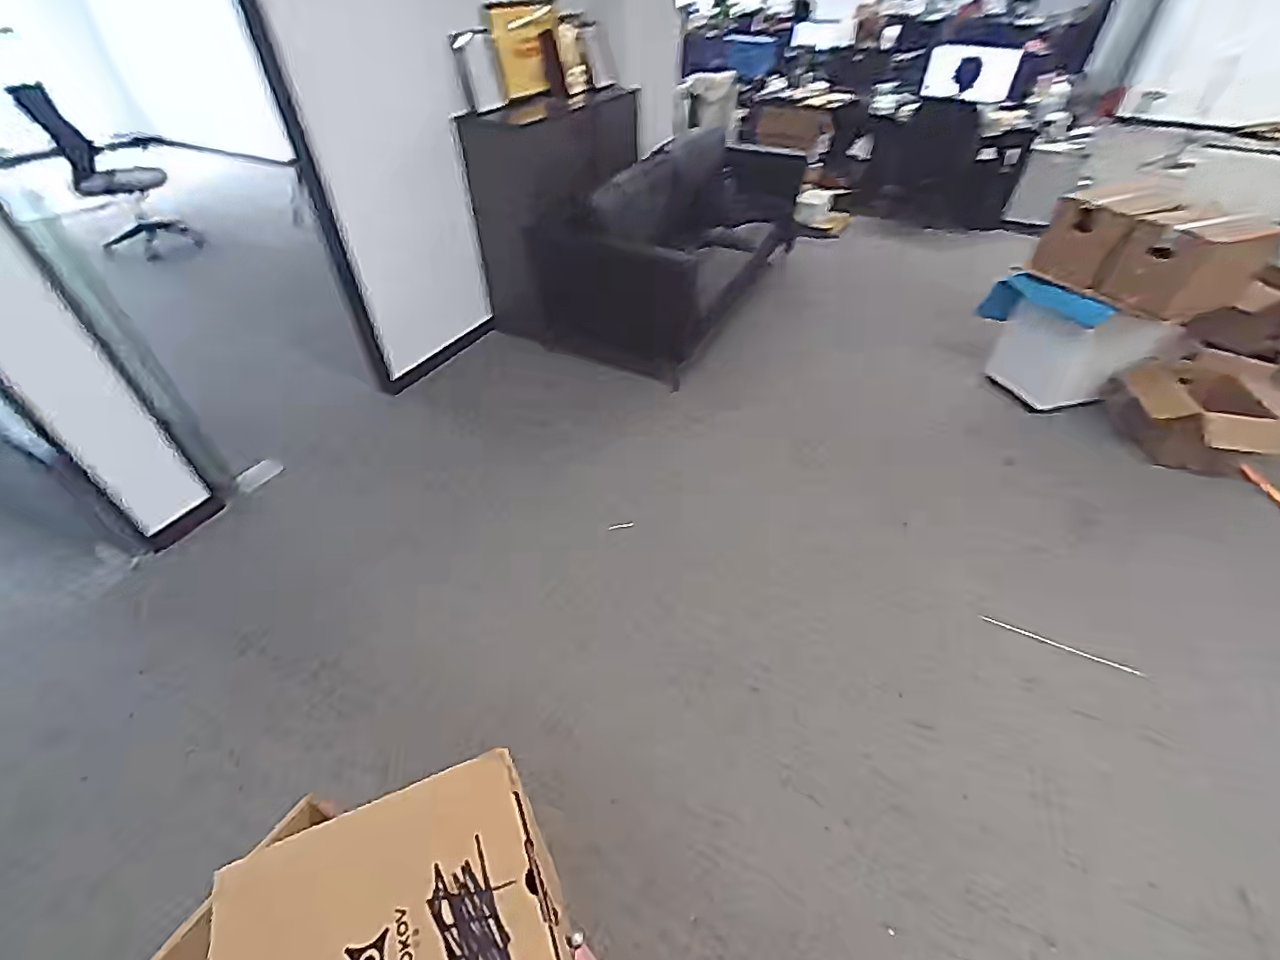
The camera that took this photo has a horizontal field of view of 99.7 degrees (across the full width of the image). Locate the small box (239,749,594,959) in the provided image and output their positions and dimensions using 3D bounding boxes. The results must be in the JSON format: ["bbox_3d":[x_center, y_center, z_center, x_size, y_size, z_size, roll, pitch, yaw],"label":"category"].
[{"bbox_3d":[-0.127,0.313,0.353,0.179,0.176,0.168,-16,49,-18],"label":"small box"}]
